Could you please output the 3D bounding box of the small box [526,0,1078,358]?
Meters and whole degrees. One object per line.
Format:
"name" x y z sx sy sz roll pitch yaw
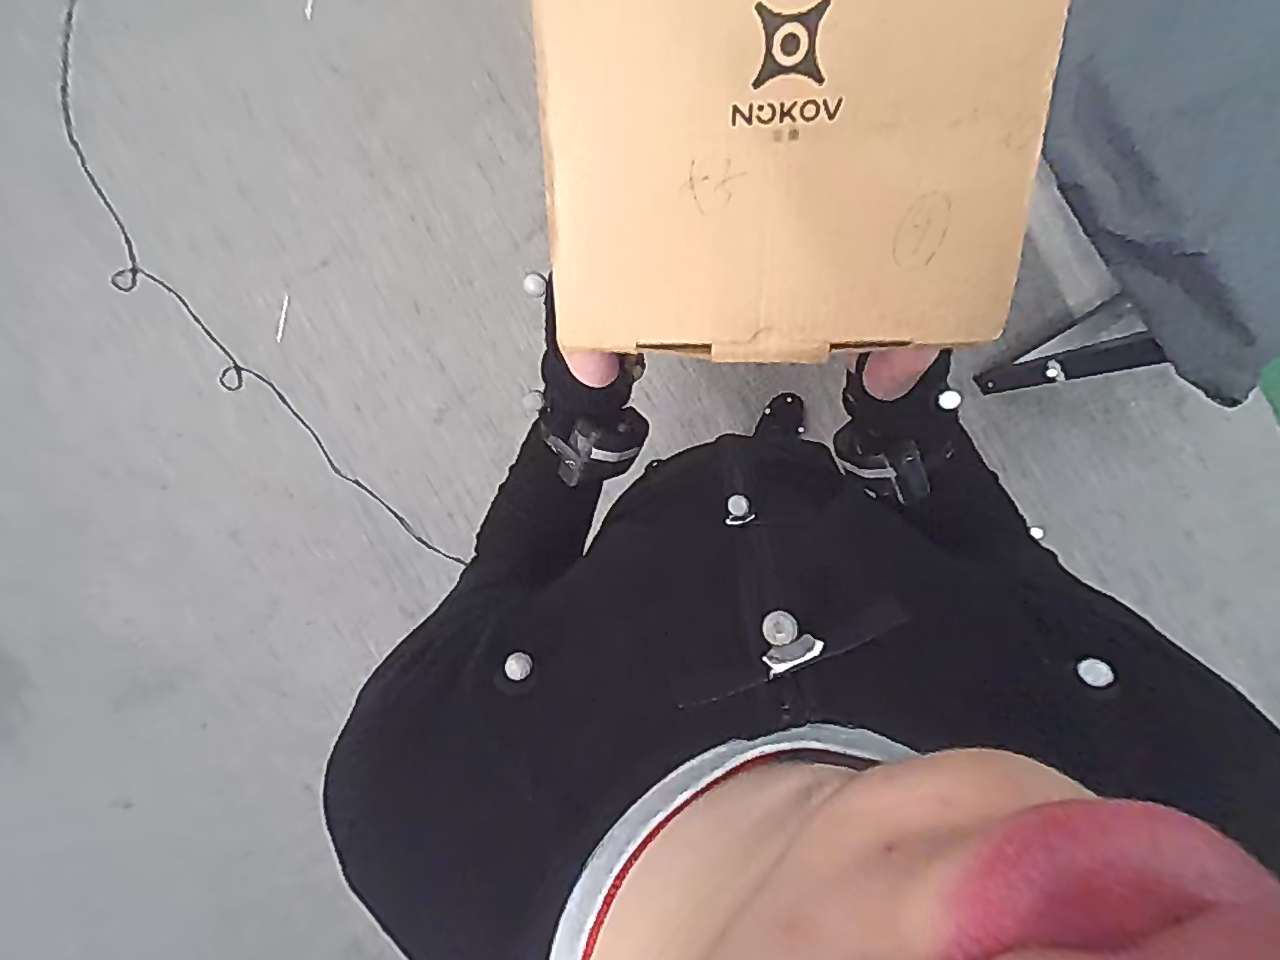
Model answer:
"small box" 0.051 -0.158 0.243 0.168 0.176 0.179 0 112 3
